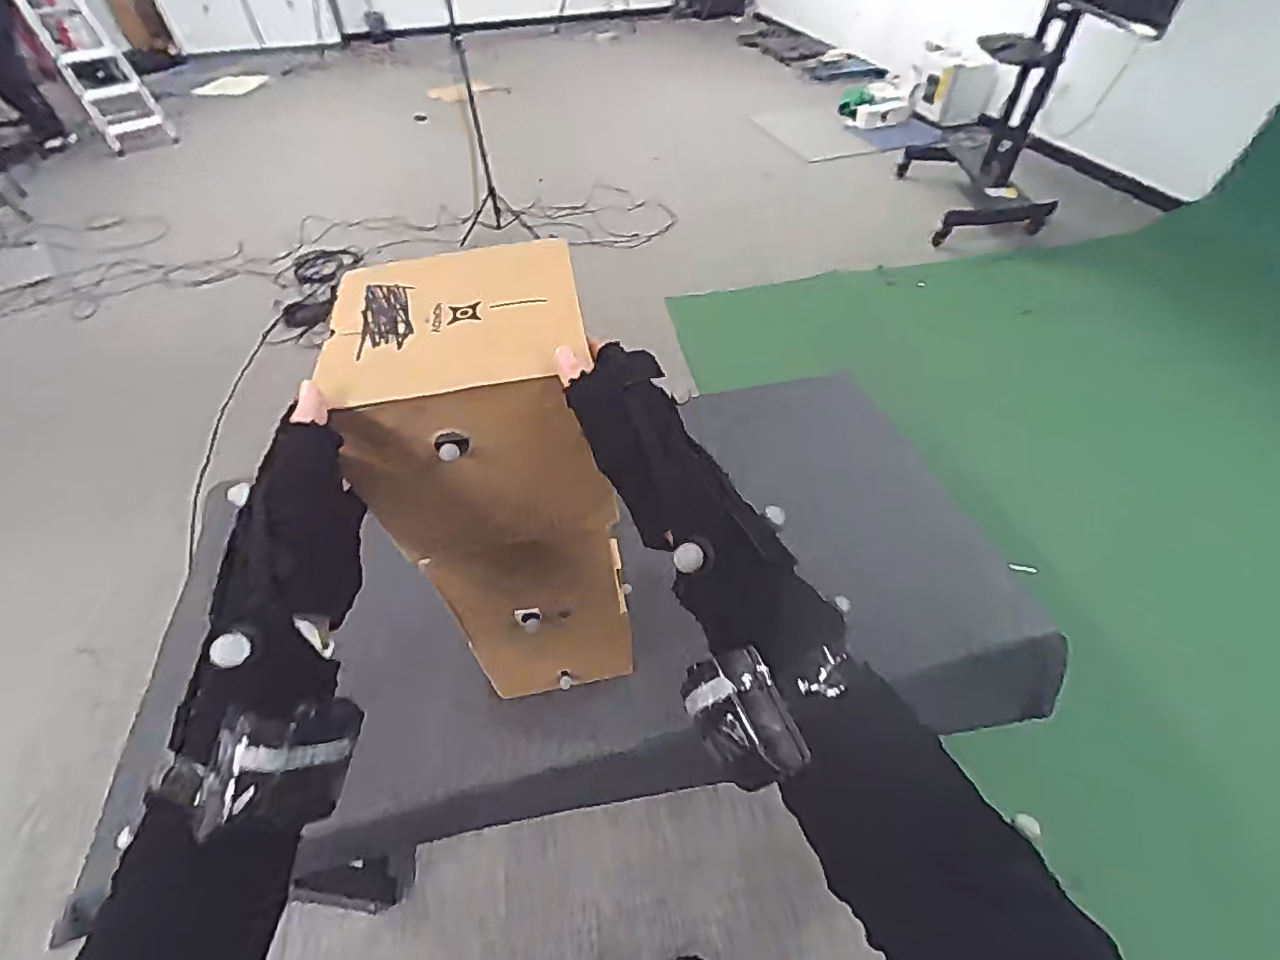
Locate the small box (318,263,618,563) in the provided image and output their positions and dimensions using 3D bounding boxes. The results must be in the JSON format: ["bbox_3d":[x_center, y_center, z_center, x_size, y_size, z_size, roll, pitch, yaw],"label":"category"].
[{"bbox_3d":[-0.121,-0.049,0.446,0.179,0.176,0.168,-10,53,-4],"label":"small box"}]

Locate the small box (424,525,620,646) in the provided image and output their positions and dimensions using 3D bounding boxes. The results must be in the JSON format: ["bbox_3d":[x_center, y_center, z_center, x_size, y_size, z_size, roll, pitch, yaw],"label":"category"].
[{"bbox_3d":[-0.123,0.050,0.587,0.168,0.176,0.179,-13,50,-7],"label":"small box"}]

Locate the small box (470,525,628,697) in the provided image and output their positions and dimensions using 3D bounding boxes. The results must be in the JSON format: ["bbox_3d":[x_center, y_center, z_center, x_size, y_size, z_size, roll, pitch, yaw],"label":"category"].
[{"bbox_3d":[-0.114,0.161,0.706,0.179,0.176,0.168,-10,48,-7],"label":"small box"}]
